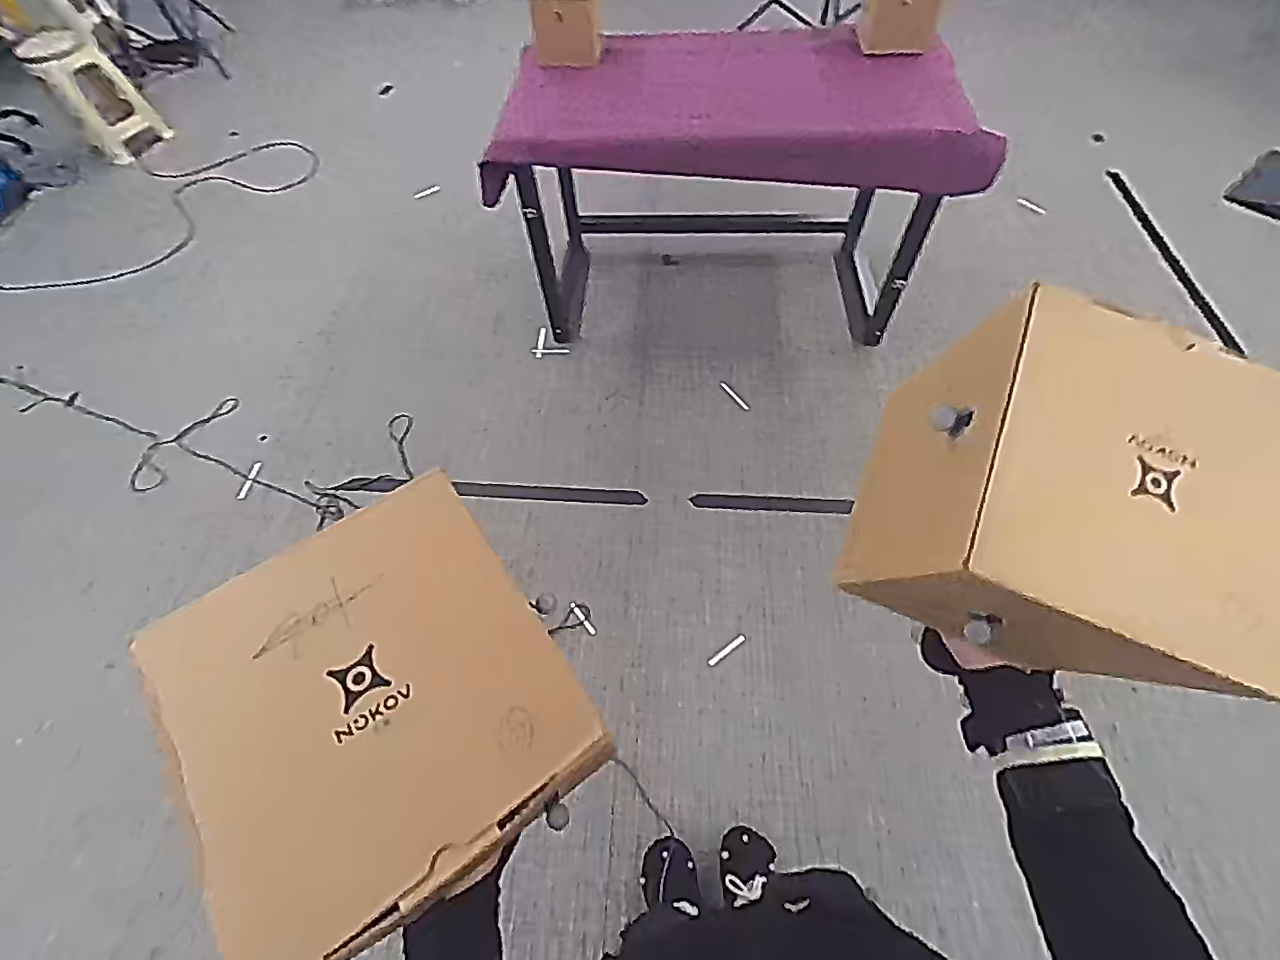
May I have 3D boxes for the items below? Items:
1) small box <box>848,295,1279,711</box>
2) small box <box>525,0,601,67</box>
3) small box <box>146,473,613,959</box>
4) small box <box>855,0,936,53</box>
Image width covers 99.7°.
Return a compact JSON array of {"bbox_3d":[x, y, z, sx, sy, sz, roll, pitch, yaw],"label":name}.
[{"bbox_3d":[0.260,0.023,0.353,0.168,0.176,0.179,22,75,3],"label":"small box"},{"bbox_3d":[-0.217,-1.319,1.548,0.179,0.176,0.168,5,62,4],"label":"small box"},{"bbox_3d":[-0.127,0.134,0.326,0.168,0.176,0.179,-33,66,-18],"label":"small box"},{"bbox_3d":[0.705,-1.311,1.491,0.179,0.176,0.168,3,60,4],"label":"small box"}]
